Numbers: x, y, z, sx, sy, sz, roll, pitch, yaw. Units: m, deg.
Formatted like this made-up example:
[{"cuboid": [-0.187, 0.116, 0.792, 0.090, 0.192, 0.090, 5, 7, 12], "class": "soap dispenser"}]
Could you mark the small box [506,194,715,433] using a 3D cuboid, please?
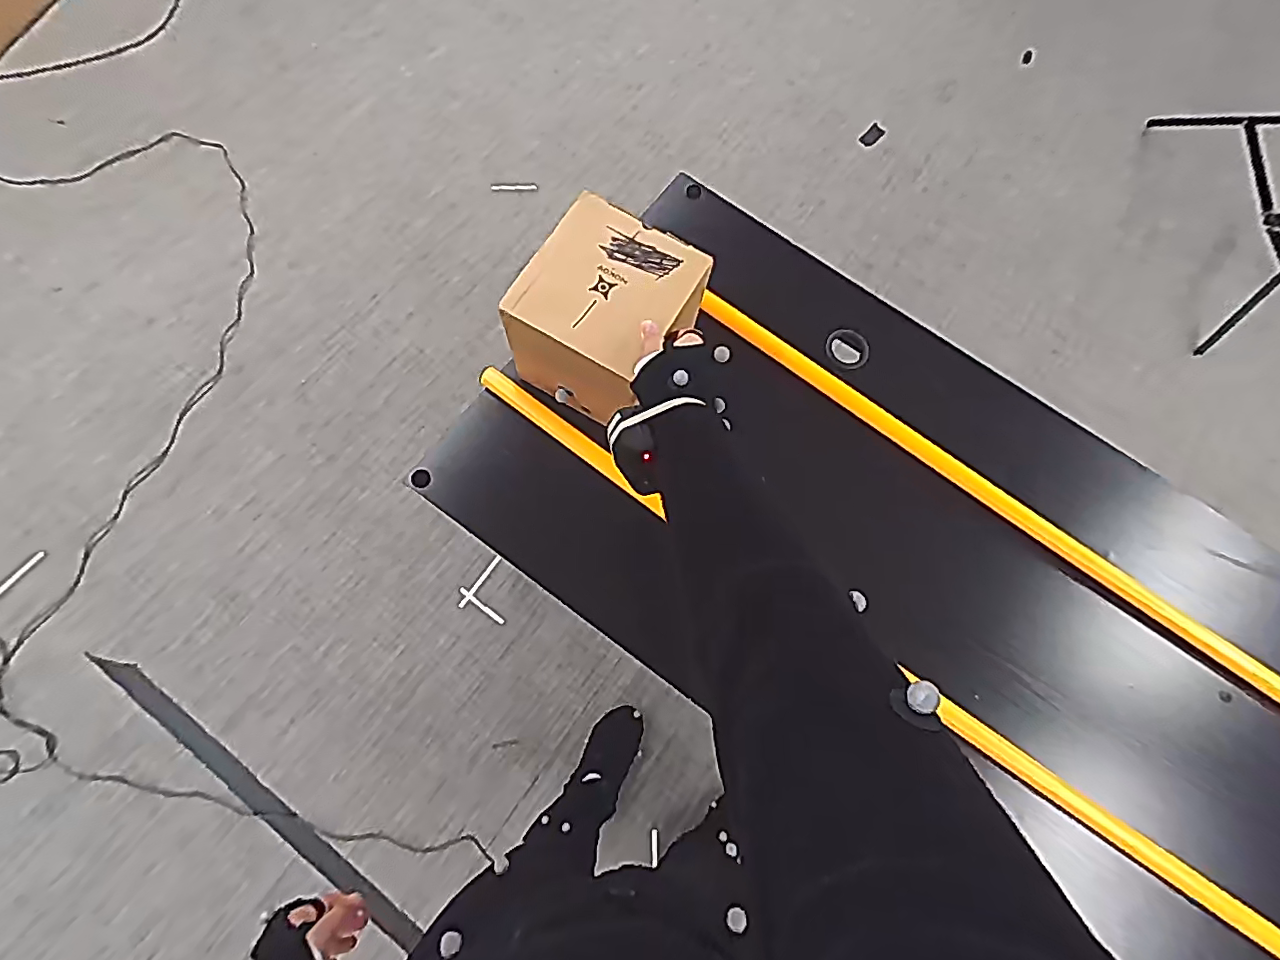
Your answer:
[{"cuboid": [-0.034, -0.187, 0.649, 0.168, 0.176, 0.179, 30, 76, 5], "class": "small box"}]
